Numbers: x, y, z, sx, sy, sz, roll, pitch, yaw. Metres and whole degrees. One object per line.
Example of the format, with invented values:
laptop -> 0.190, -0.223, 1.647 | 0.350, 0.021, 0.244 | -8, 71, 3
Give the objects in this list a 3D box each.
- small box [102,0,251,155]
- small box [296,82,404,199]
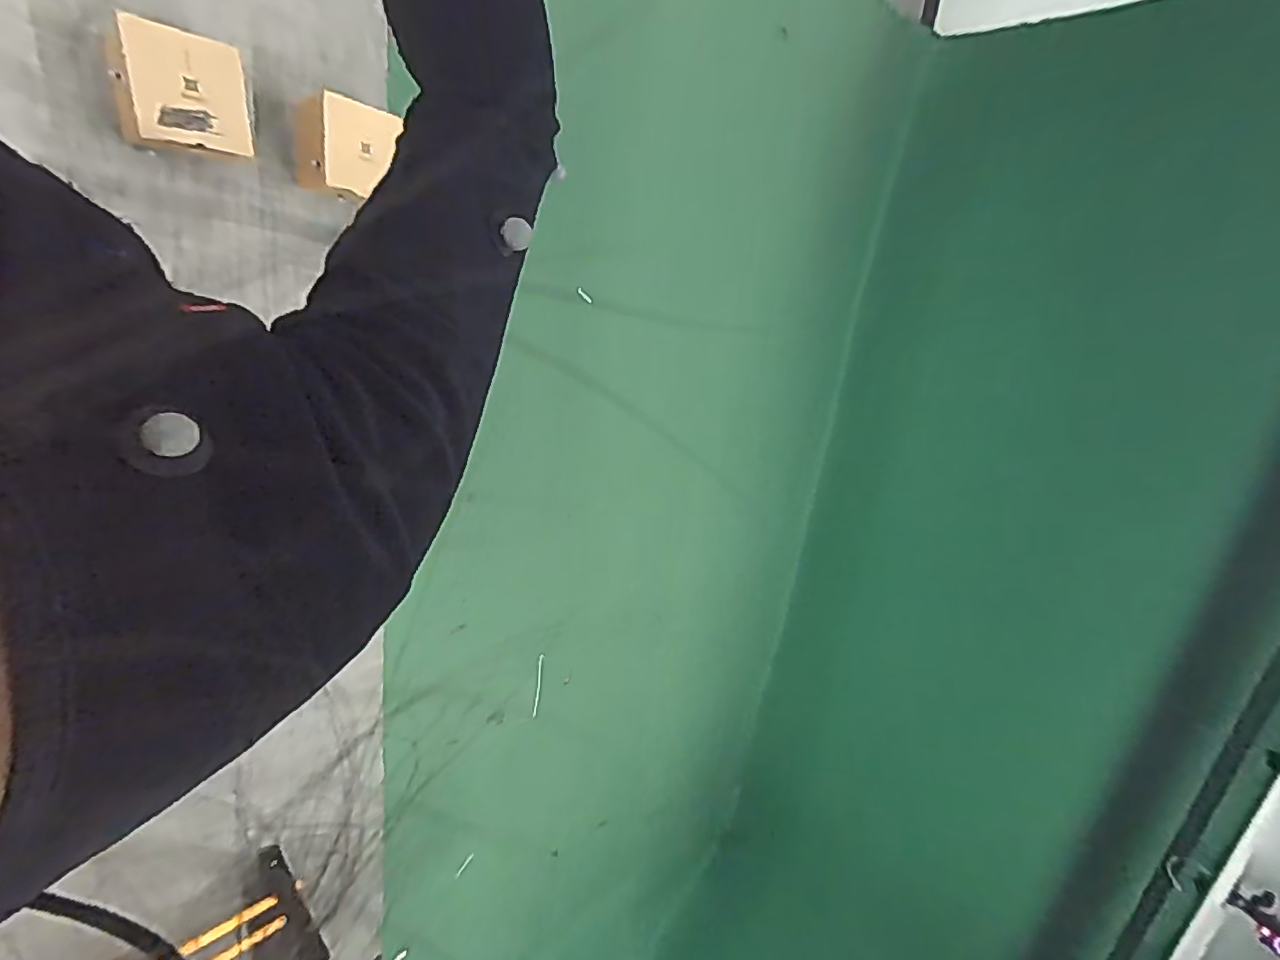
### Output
small box -> -0.833, -0.706, 0.977 | 0.168, 0.176, 0.179 | -17, 119, -46
small box -> -0.643, -0.739, 1.197 | 0.168, 0.176, 0.179 | -11, 115, -47
